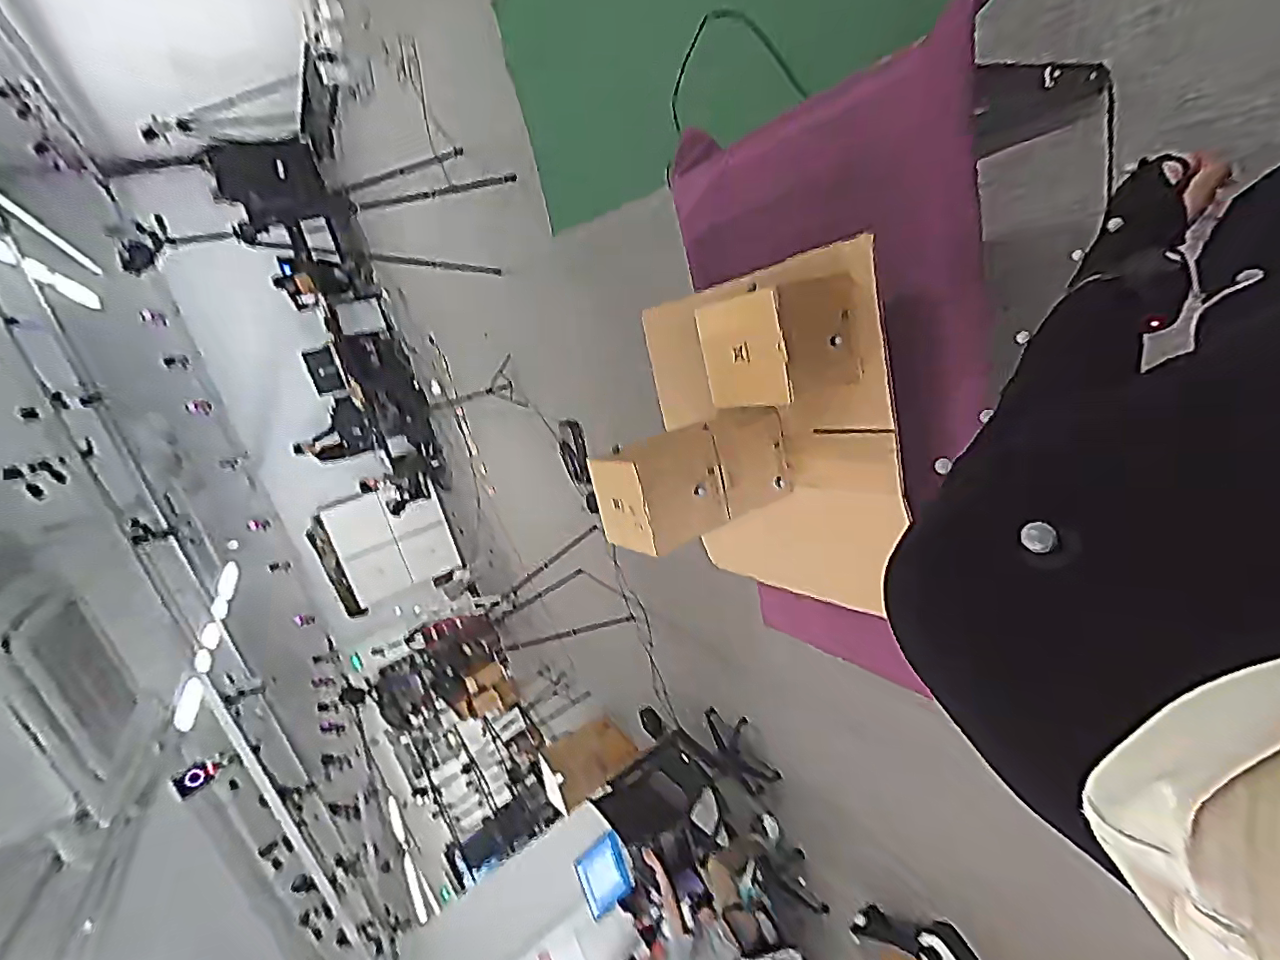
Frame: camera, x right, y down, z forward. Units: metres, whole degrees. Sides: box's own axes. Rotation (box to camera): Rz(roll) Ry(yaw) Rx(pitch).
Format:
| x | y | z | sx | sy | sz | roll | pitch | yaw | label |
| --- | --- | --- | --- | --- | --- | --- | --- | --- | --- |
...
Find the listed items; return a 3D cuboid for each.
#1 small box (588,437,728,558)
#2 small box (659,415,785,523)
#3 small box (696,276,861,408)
| x | y | z | sx | sy | sz | roll | pitch | yaw | label |
| --- | --- | --- | --- | --- | --- | --- | --- | --- | --- |
| 0.032 | 0.023 | 0.987 | 0.179 | 0.176 | 0.168 | 6 | 114 | 56 | small box |
| 0.167 | -0.029 | 1.066 | 0.179 | 0.176 | 0.168 | 7 | 114 | 58 | small box |
| 0.221 | -0.216 | 0.865 | 0.179 | 0.176 | 0.168 | 7 | 114 | 56 | small box |
